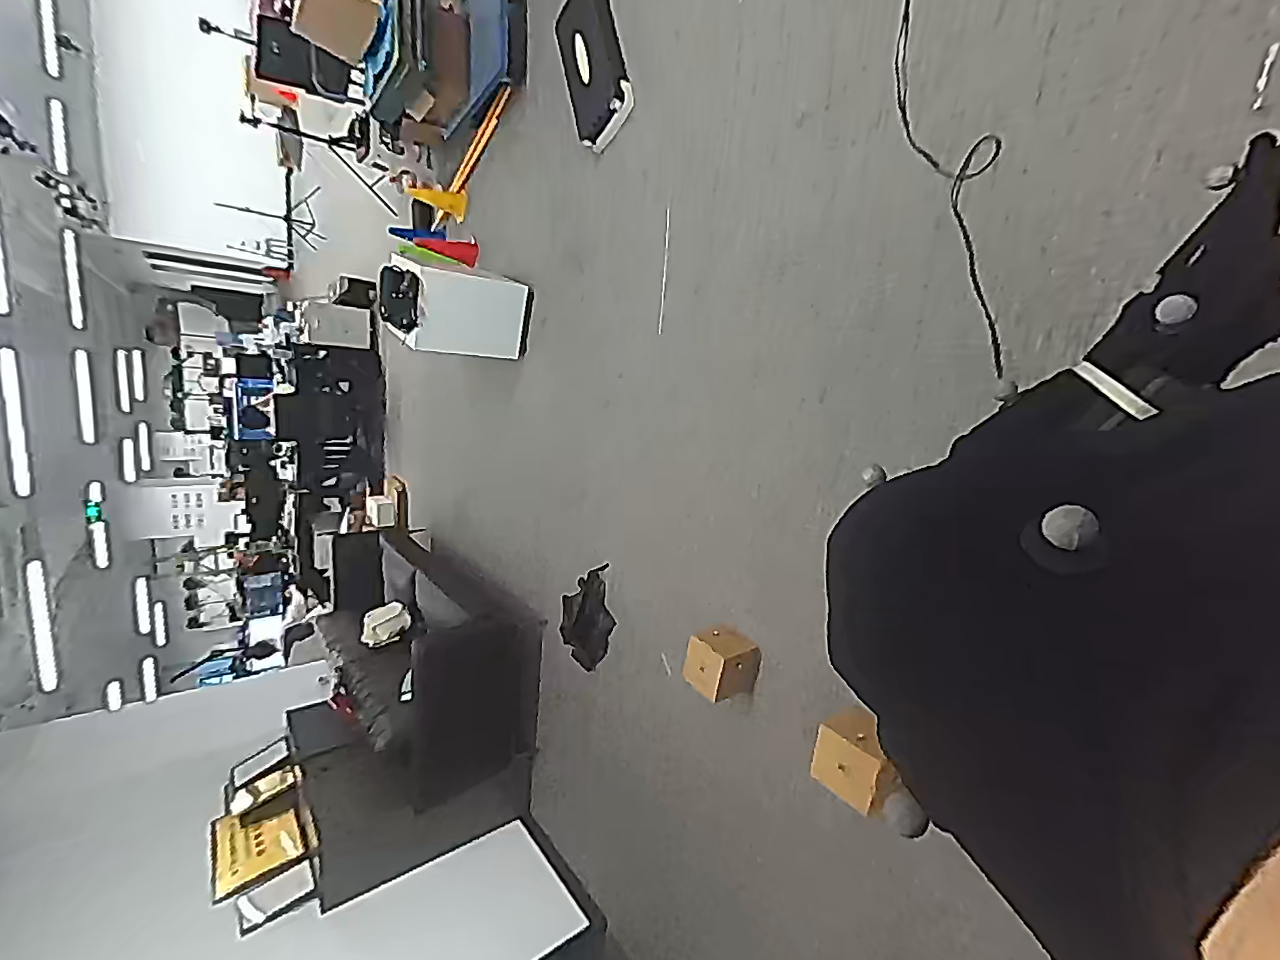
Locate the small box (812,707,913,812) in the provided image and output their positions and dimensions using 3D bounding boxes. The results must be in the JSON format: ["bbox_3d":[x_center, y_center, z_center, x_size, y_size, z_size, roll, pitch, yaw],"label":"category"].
[{"bbox_3d":[0.600,0.740,1.462,0.179,0.176,0.168,21,109,49],"label":"small box"}]

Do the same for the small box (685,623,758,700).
[{"bbox_3d":[0.281,0.614,1.858,0.168,0.176,0.179,27,115,49],"label":"small box"}]
